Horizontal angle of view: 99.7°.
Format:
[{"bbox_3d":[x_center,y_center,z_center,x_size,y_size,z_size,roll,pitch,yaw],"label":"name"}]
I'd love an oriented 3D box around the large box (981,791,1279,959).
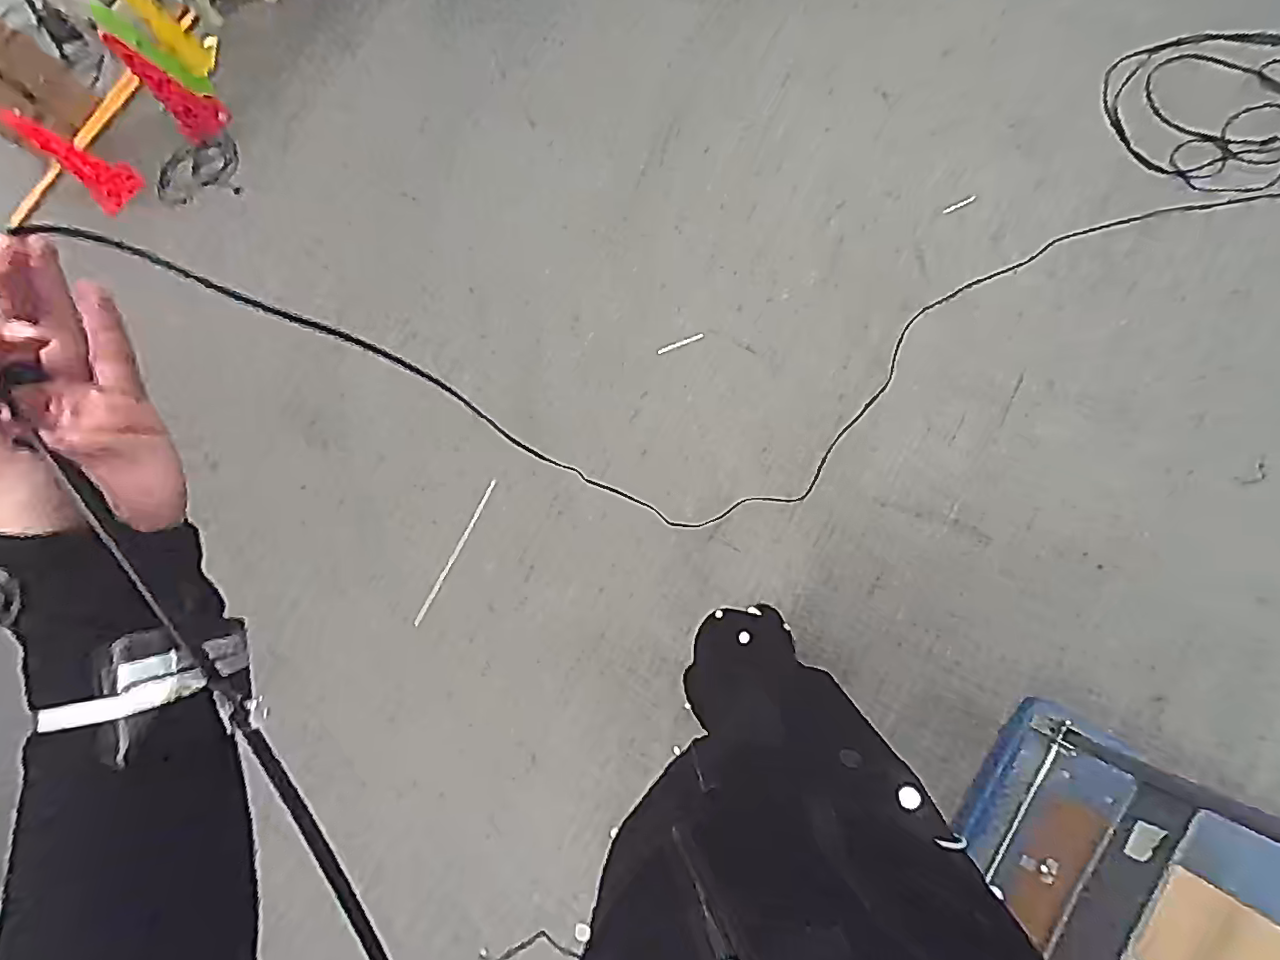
[{"bbox_3d":[0.884,0.812,0.892,0.408,0.320,0.320,30,85,15],"label":"large box"}]
